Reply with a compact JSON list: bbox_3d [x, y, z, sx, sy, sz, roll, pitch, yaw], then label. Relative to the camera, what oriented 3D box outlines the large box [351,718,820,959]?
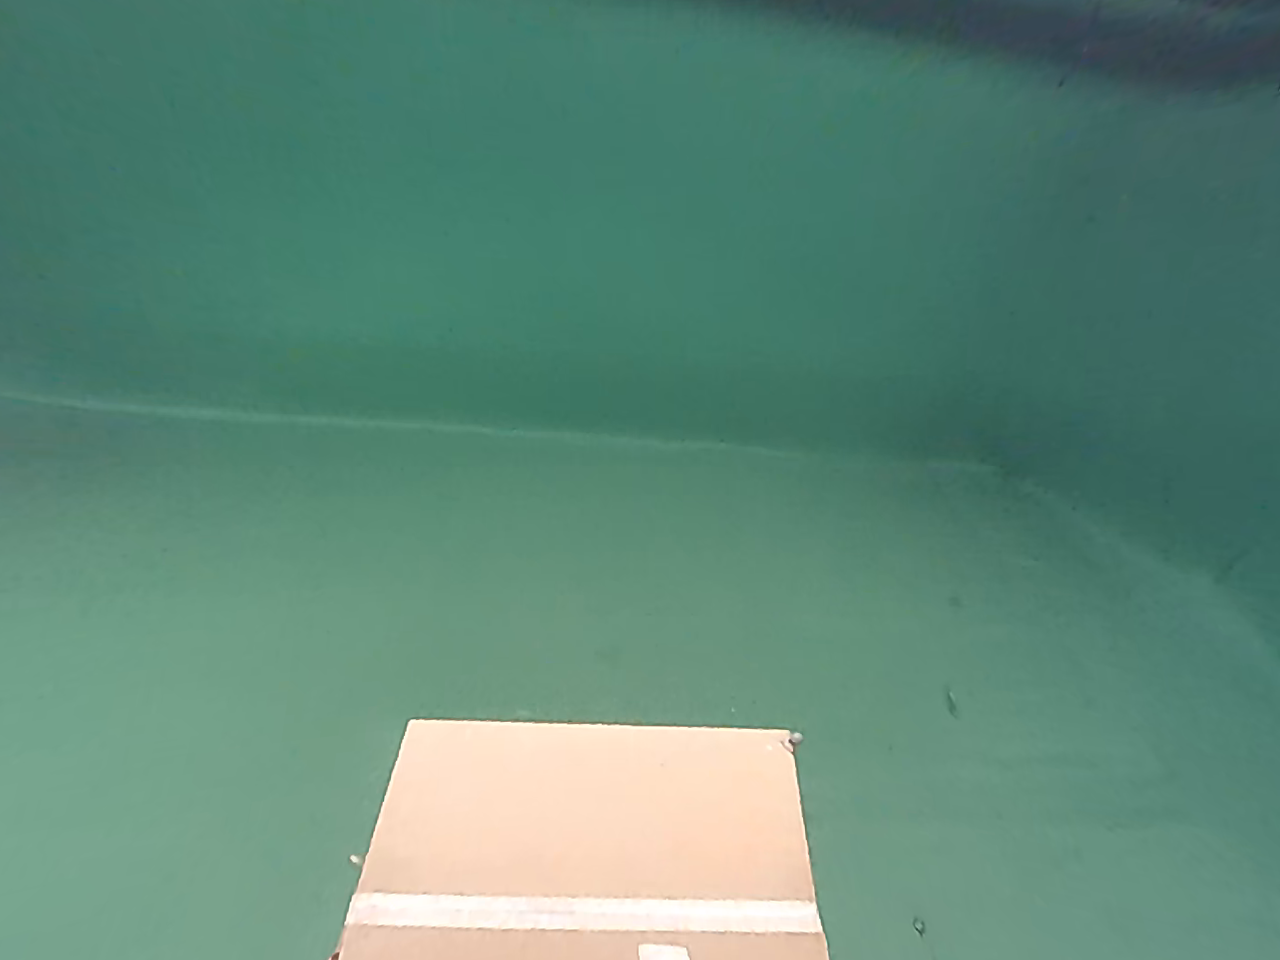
[{"bbox_3d":[-0.050,0.476,0.592,0.408,0.320,0.320,2,48,-1],"label":"large box"}]
